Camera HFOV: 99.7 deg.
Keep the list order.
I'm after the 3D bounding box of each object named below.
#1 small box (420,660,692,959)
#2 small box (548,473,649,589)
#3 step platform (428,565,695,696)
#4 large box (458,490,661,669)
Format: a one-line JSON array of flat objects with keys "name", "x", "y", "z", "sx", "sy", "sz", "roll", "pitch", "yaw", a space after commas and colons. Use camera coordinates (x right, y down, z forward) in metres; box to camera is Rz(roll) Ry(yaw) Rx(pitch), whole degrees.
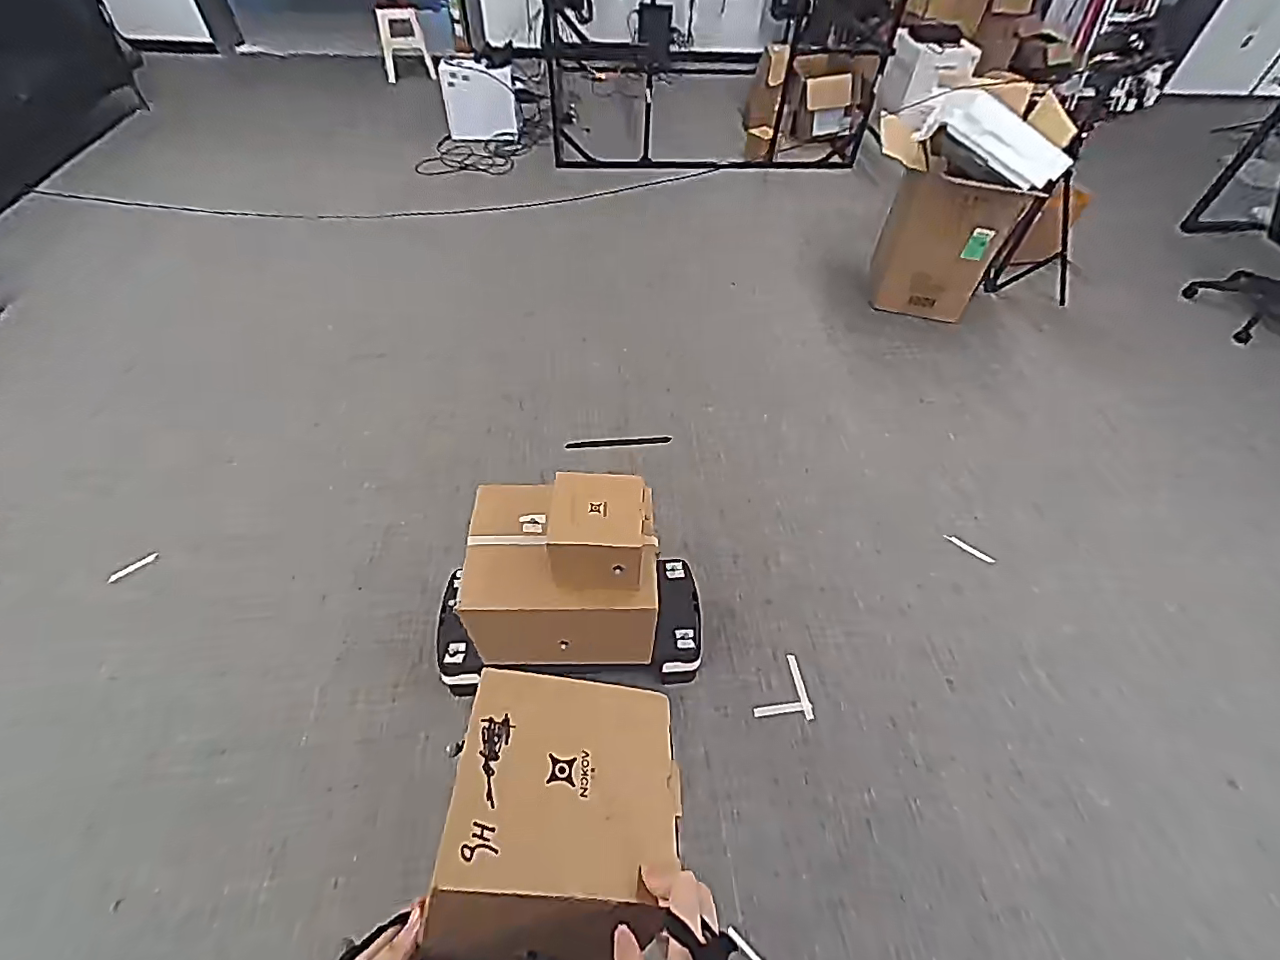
[{"name": "small box", "x": -0.071, "y": 0.288, "z": 0.466, "sx": 0.179, "sy": 0.176, "sz": 0.168, "roll": 14, "pitch": 33, "yaw": -11}, {"name": "small box", "x": -0.076, "y": 0.104, "z": 1.064, "sx": 0.179, "sy": 0.176, "sz": 0.168, "roll": 3, "pitch": 52, "yaw": 0}, {"name": "step platform", "x": -0.194, "y": 0.397, "z": 1.444, "sx": 0.684, "sy": 0.204, "sz": 0.286, "roll": 1, "pitch": 51, "yaw": -1}, {"name": "large box", "x": -0.166, "y": 0.238, "z": 1.268, "sx": 0.408, "sy": 0.320, "sz": 0.320, "roll": -1, "pitch": 50, "yaw": -2}]
